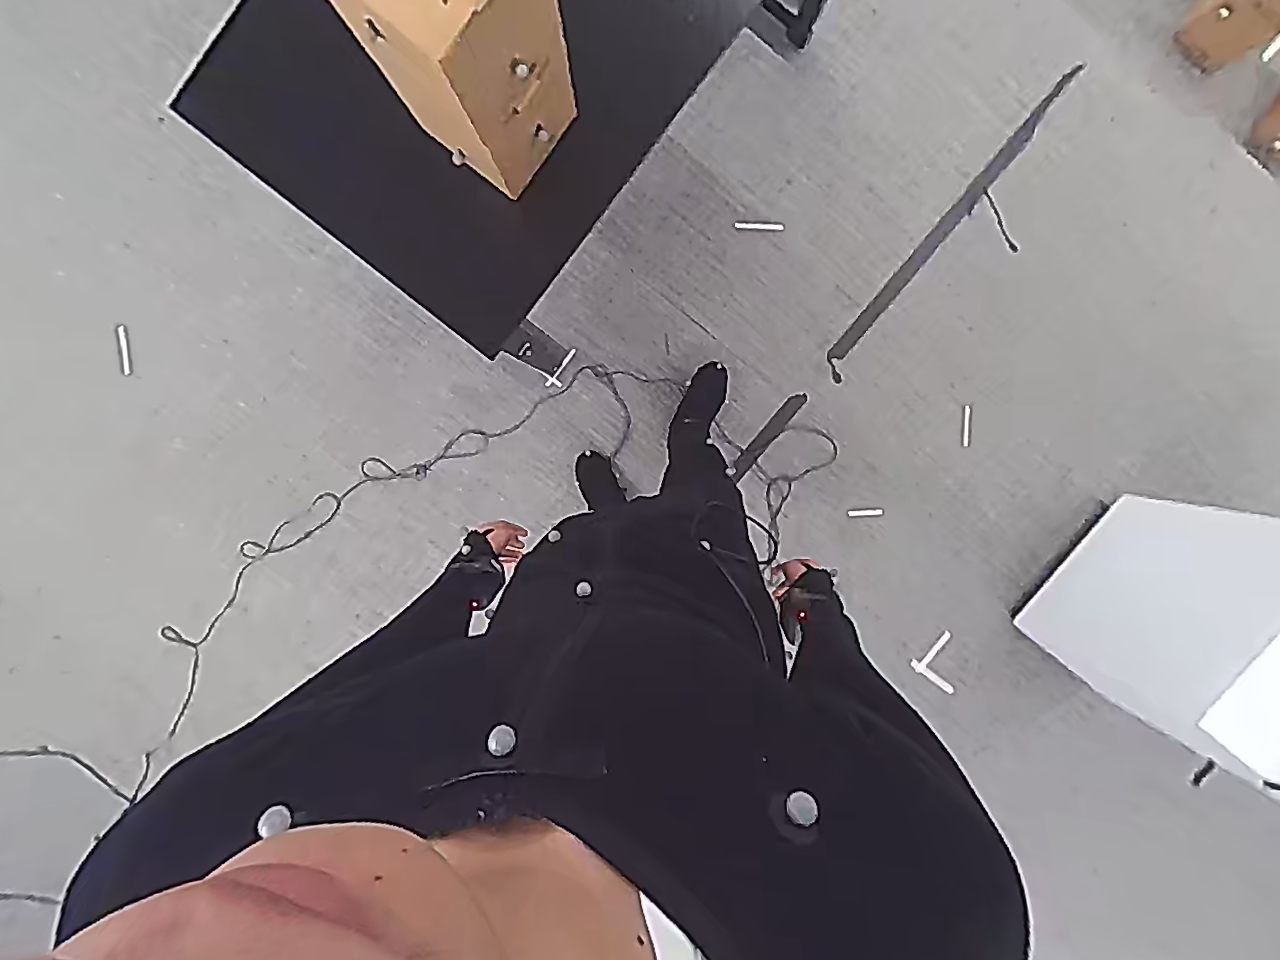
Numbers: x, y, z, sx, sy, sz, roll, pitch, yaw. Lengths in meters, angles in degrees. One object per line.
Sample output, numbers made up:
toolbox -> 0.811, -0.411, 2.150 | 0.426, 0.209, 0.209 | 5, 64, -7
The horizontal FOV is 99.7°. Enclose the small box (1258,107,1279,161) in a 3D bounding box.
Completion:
small box -> 1.861, -0.989, 1.456 | 0.168, 0.176, 0.179 | 37, 96, -4

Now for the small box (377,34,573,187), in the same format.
small box -> -0.207, -0.537, 0.739 | 0.179, 0.176, 0.168 | 37, 94, -5

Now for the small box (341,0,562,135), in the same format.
small box -> -0.205, -0.520, 0.575 | 0.179, 0.176, 0.168 | 37, 95, -5
